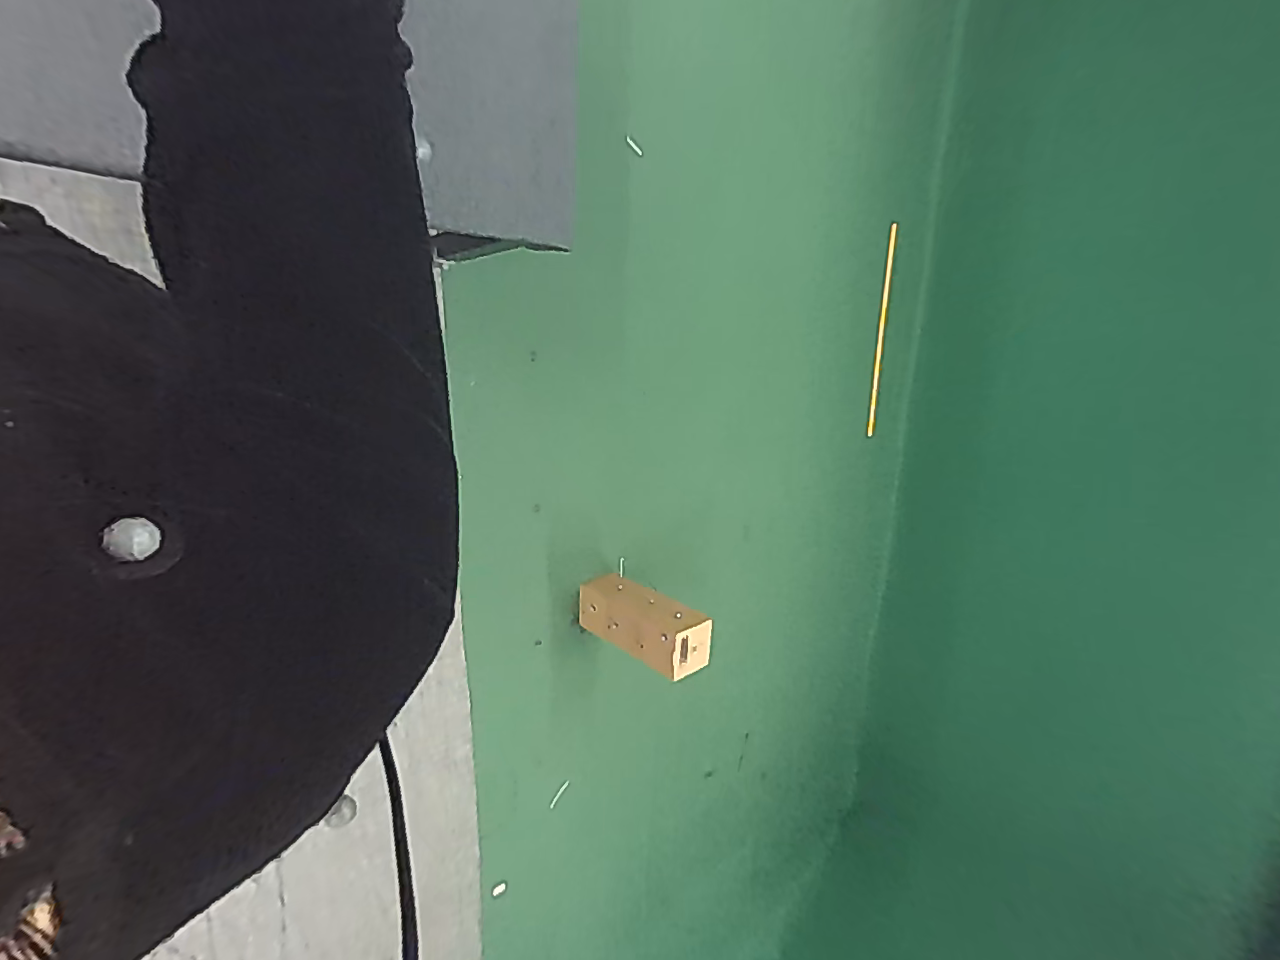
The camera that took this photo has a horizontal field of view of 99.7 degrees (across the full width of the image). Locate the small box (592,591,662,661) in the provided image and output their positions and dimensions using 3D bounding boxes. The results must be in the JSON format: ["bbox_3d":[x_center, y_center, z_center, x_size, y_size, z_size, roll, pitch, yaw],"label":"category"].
[{"bbox_3d":[-0.047,0.504,1.900,0.179,0.176,0.168,-6,104,-44],"label":"small box"}]

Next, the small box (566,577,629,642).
[{"bbox_3d":[-0.162,0.477,2.016,0.179,0.176,0.168,-10,107,-43],"label":"small box"}]
